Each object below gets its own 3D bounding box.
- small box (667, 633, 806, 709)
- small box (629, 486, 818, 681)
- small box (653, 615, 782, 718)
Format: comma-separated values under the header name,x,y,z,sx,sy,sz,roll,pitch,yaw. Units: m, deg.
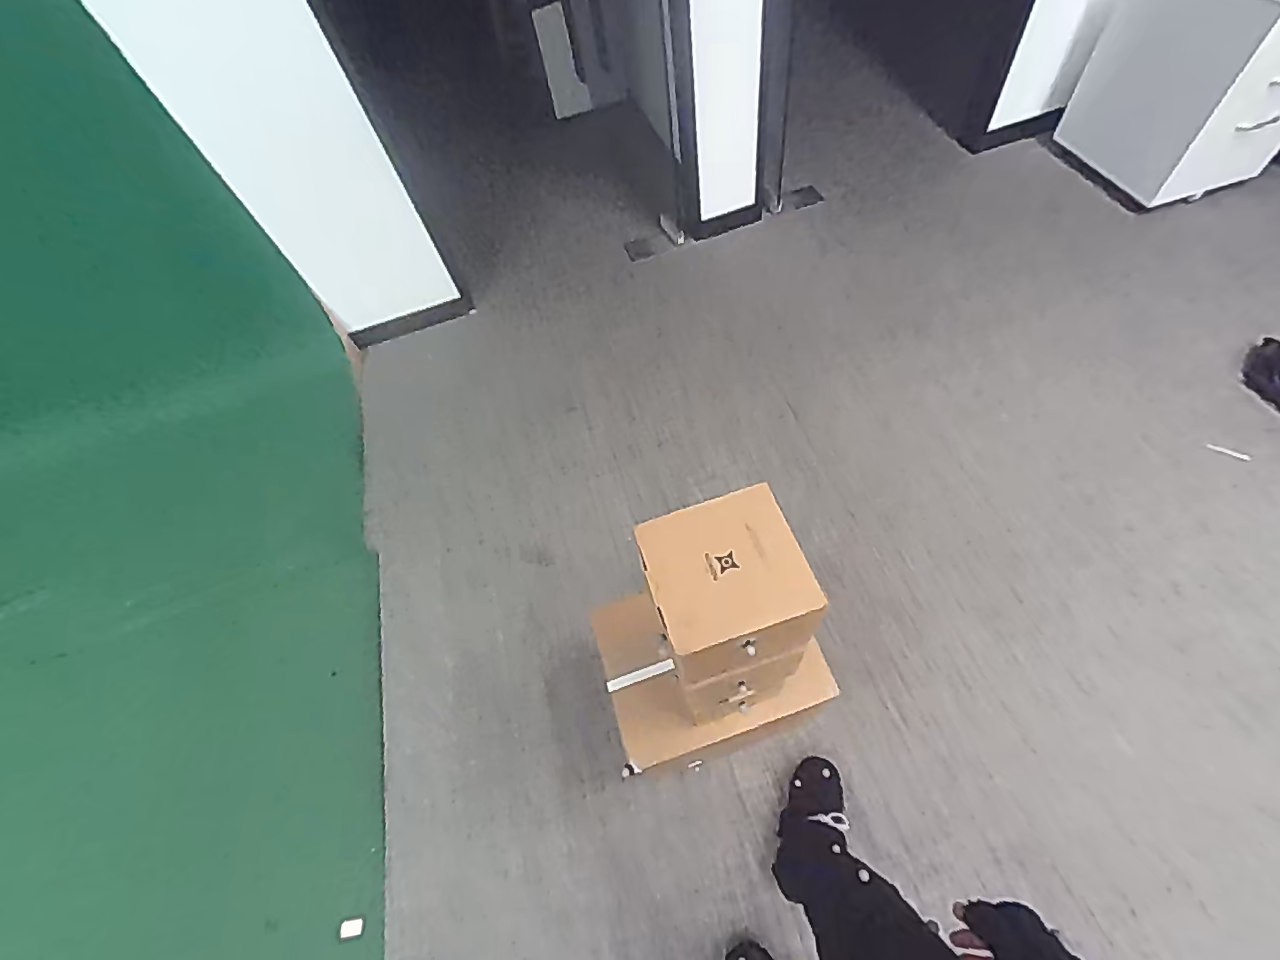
name,x,y,z,sx,sy,sz,roll,pitch,yaw
small box,0.124,0.226,0.818,0.179,0.176,0.168,-20,58,-5
small box,0.100,0.138,0.684,0.179,0.176,0.168,-18,59,-3
small box,0.136,0.308,0.960,0.168,0.176,0.179,-20,59,-3
